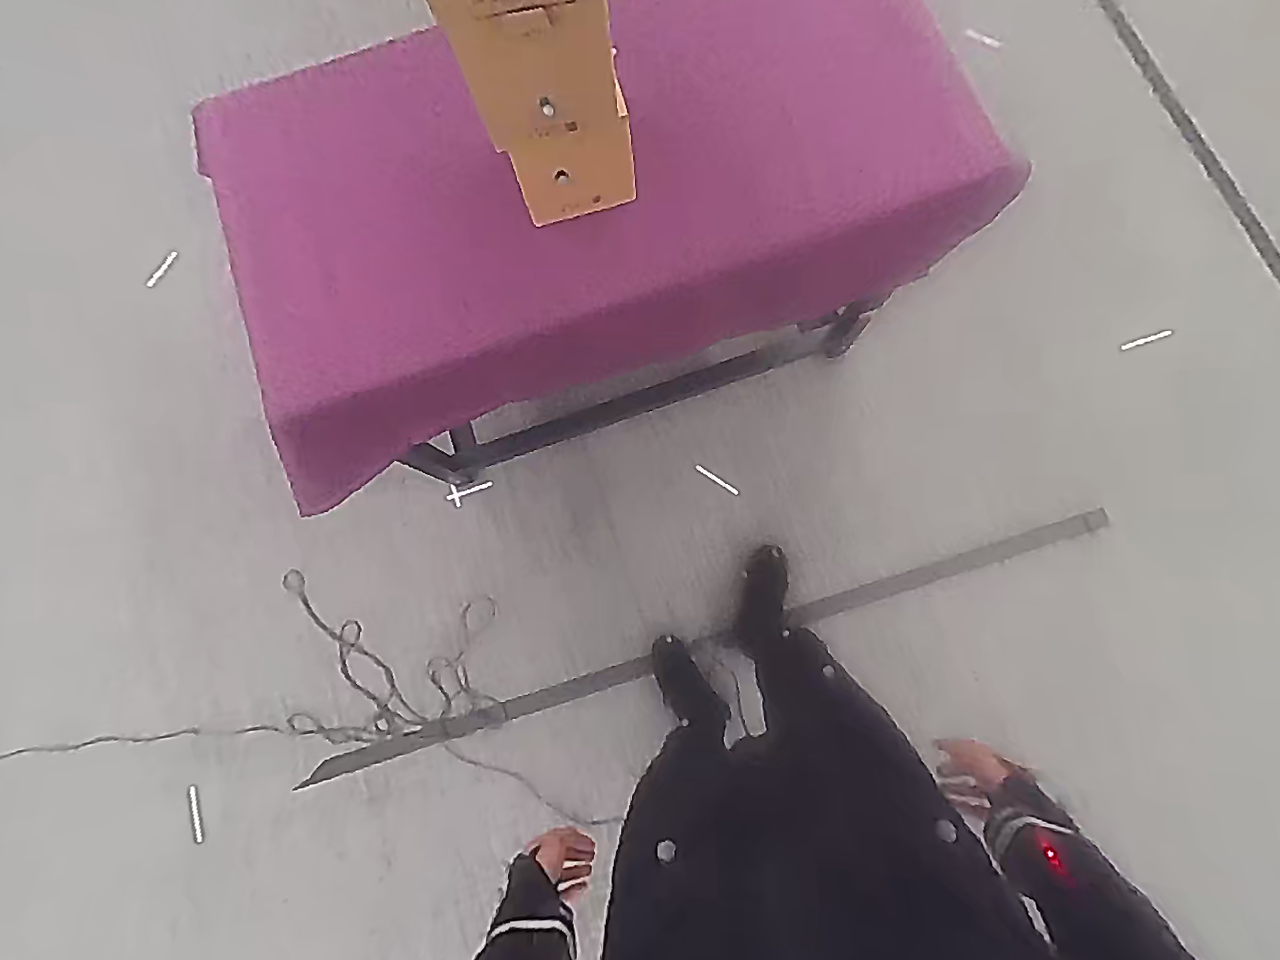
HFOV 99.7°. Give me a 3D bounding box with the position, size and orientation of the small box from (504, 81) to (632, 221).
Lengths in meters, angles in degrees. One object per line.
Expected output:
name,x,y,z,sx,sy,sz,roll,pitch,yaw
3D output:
small box,-0.114,-0.512,0.795,0.168,0.176,0.179,-16,78,0

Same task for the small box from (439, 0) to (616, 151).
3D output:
small box,-0.125,-0.531,0.631,0.168,0.176,0.179,-9,79,2
